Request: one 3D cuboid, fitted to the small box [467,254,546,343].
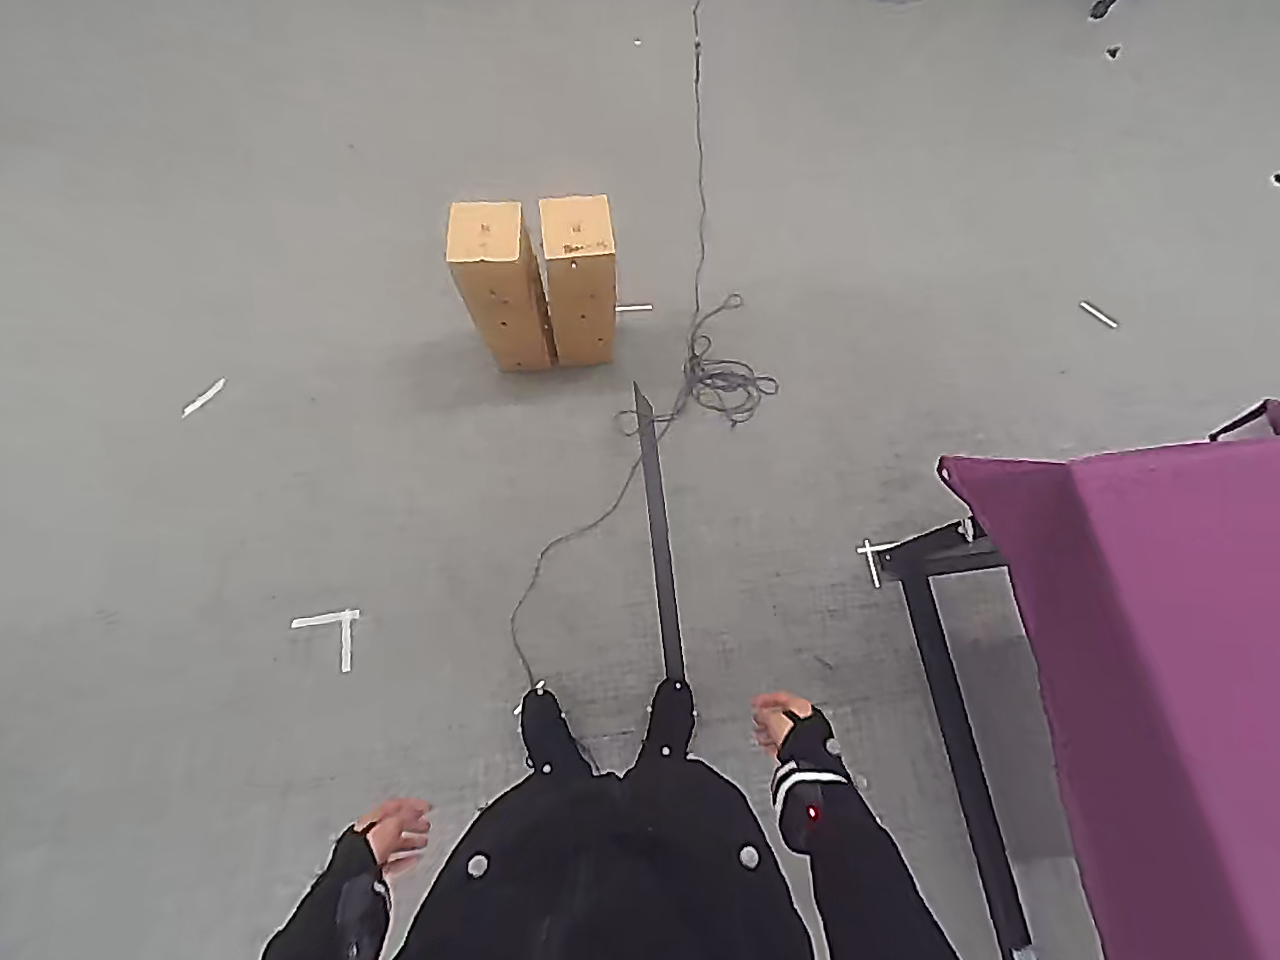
[{"bbox_3d":[-0.355,-0.489,1.469,0.179,0.176,0.168,-2,72,0],"label":"small box"}]

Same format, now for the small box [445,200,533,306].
[{"bbox_3d":[-0.358,-0.547,1.314,0.168,0.176,0.179,-2,73,0],"label":"small box"}]
